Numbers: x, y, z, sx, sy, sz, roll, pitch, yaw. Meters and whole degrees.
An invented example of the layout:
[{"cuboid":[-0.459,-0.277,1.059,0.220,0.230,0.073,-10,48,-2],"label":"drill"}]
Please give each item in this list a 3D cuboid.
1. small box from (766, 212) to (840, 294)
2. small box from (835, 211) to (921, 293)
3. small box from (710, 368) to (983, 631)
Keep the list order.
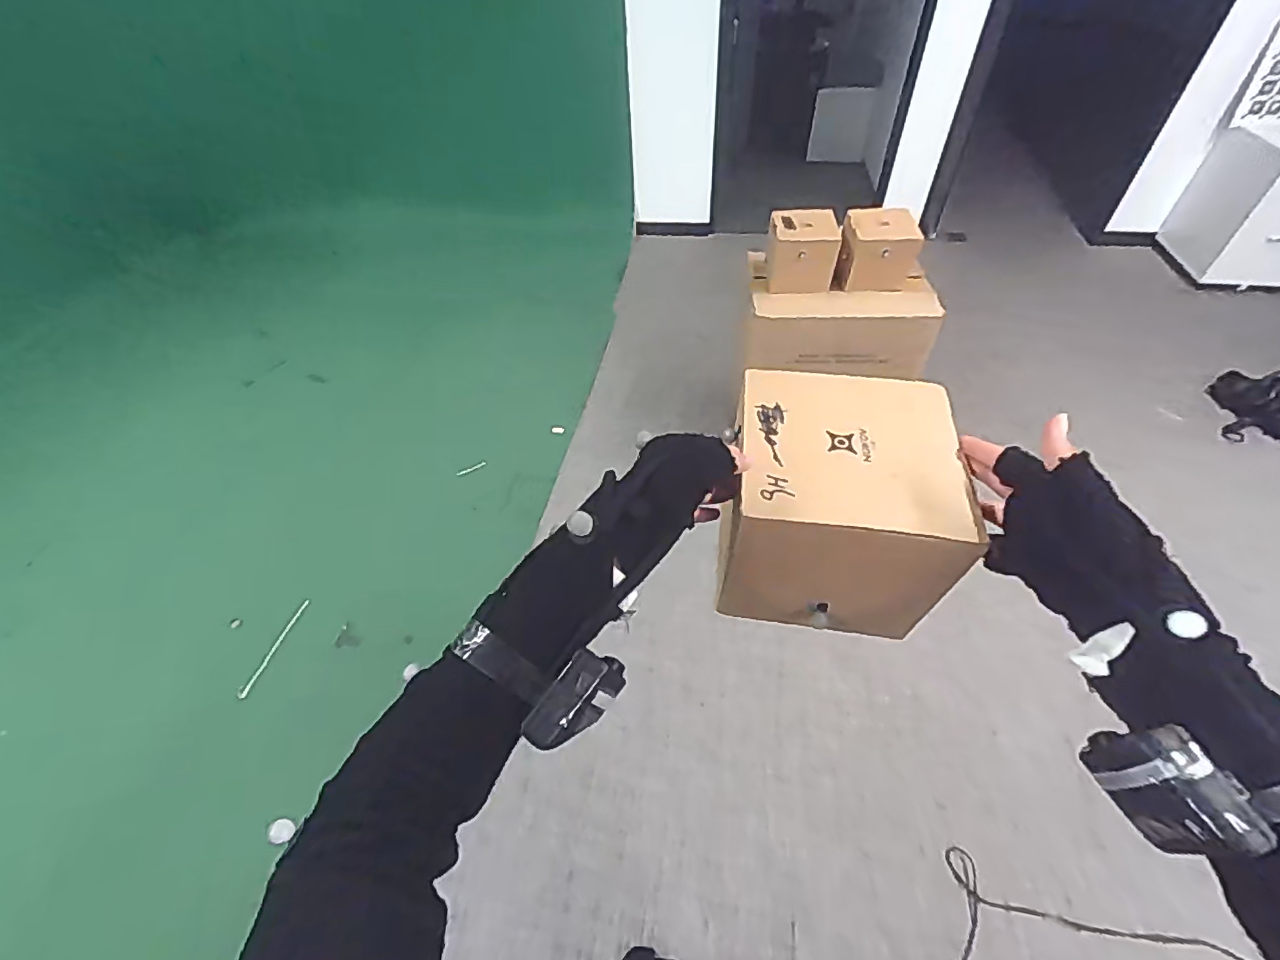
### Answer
[{"cuboid":[0.472,-0.669,1.600,0.179,0.176,0.168,1,53,3],"label":"small box"},{"cuboid":[0.686,-0.666,1.588,0.179,0.176,0.168,0,54,1],"label":"small box"},{"cuboid":[0.168,0.023,0.498,0.179,0.176,0.168,8,51,4],"label":"small box"}]
